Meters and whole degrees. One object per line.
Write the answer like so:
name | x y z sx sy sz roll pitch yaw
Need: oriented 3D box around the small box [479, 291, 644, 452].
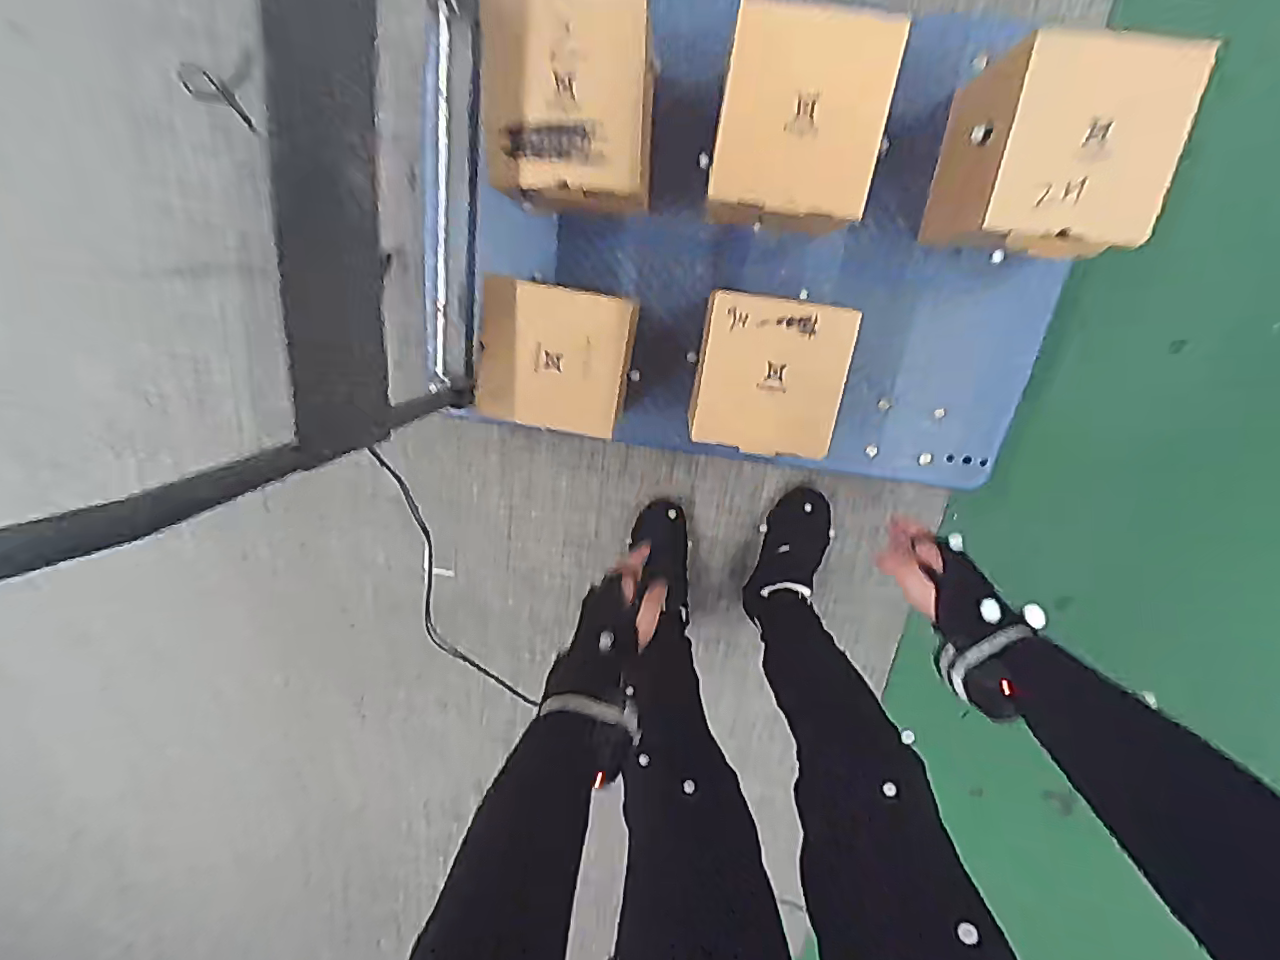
small box | -0.097 -0.150 0.725 0.179 0.176 0.168 11 108 0

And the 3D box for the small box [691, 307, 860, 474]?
small box | 0.163 -0.126 0.712 0.168 0.176 0.179 9 108 1

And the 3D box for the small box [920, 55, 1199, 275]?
small box | 0.452 -0.342 0.621 0.168 0.176 0.179 8 108 3

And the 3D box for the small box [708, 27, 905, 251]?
small box | 0.175 -0.379 0.634 0.168 0.176 0.179 9 109 1
